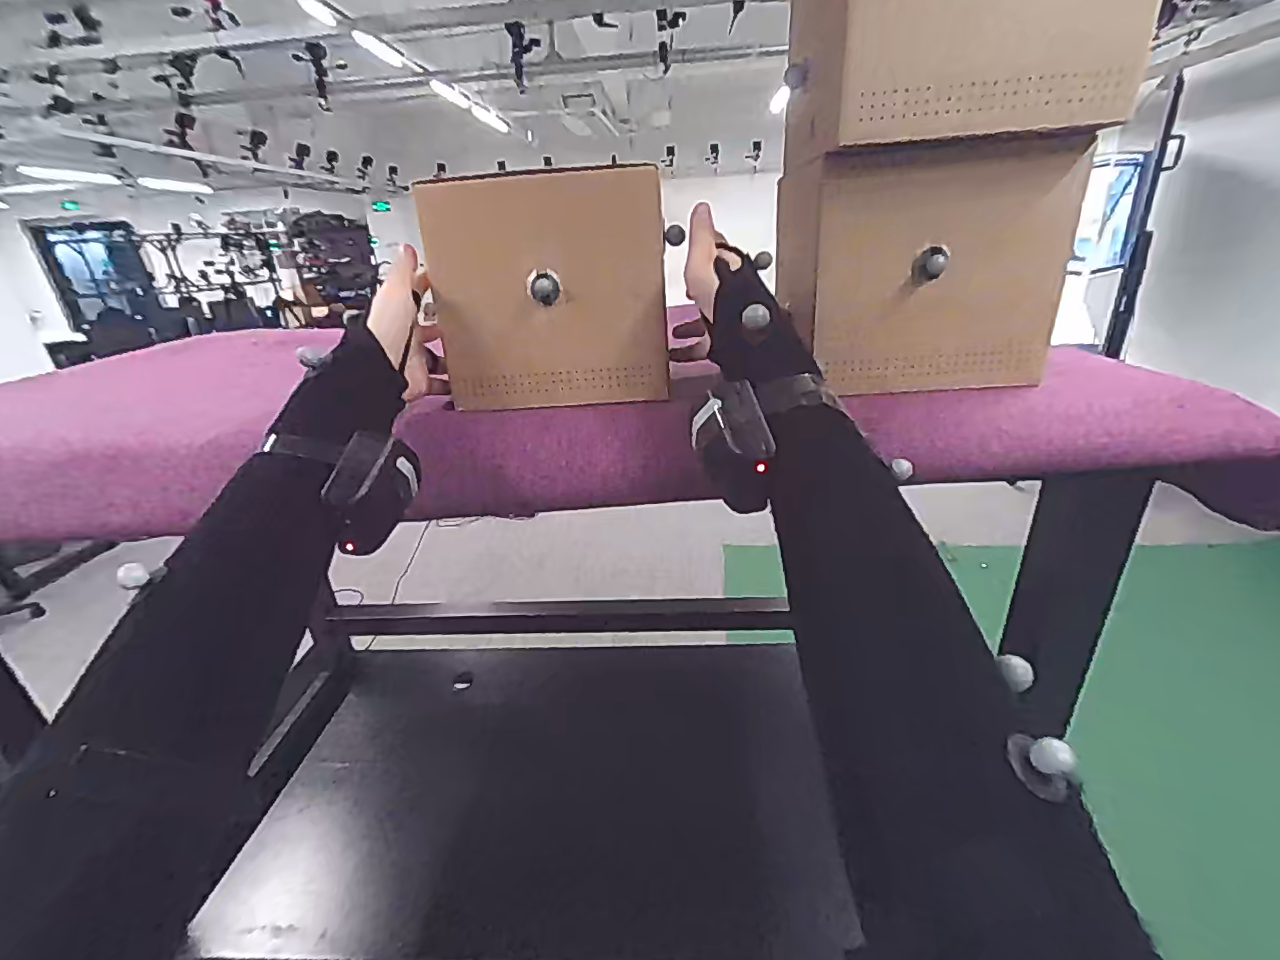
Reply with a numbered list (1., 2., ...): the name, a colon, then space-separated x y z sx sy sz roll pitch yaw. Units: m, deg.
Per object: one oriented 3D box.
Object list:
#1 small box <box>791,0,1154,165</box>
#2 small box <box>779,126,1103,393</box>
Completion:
1. small box: 0.208 -0.318 0.366 0.179 0.176 0.168 -2 23 5
2. small box: 0.218 -0.176 0.451 0.179 0.176 0.168 -3 24 5
